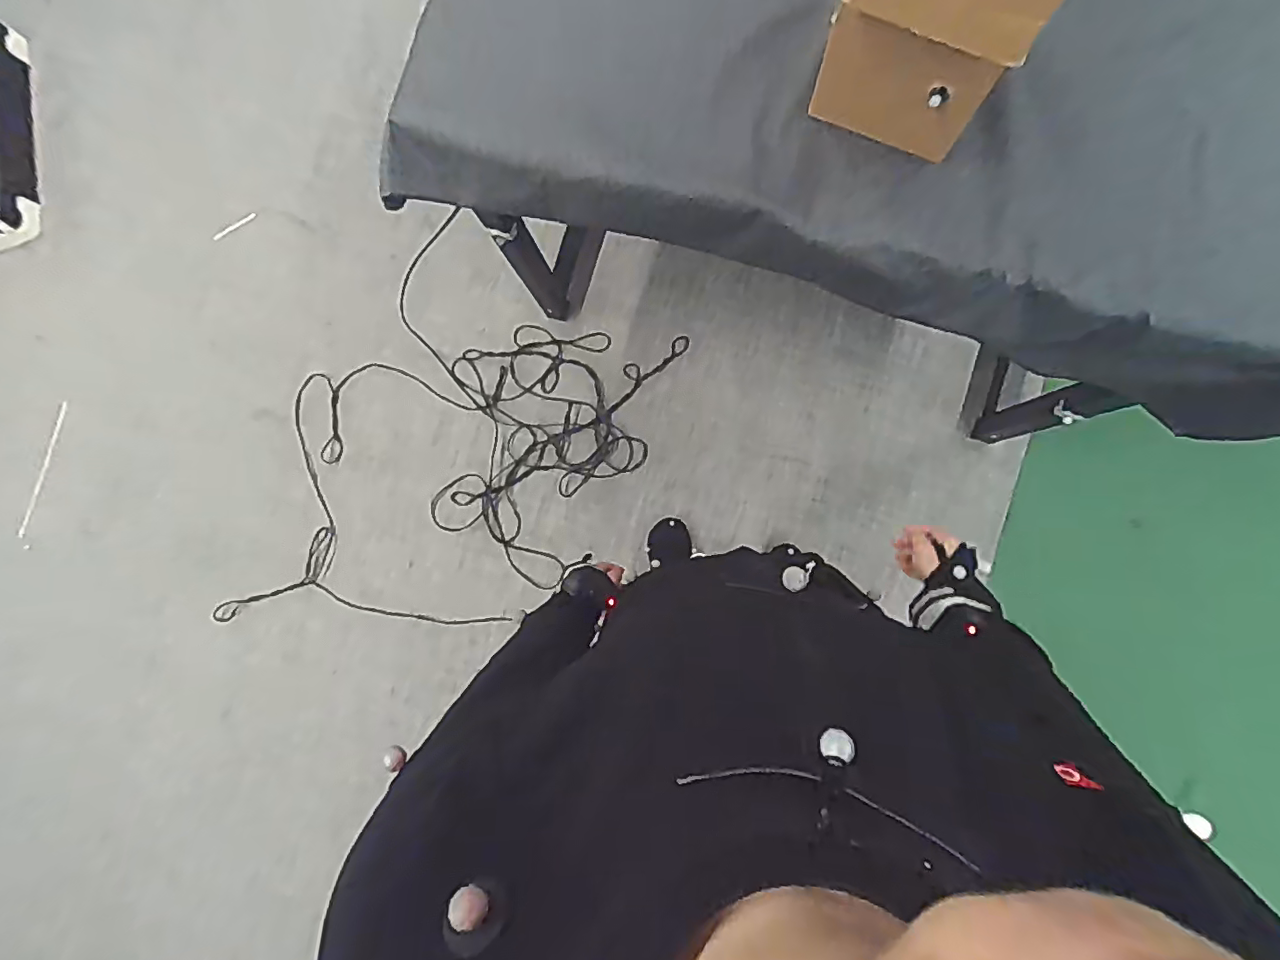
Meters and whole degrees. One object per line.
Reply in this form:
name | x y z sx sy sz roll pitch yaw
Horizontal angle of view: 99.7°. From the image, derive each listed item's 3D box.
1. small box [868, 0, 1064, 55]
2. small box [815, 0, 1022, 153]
small box | 0.299 -0.493 0.425 0.179 0.176 0.168 27 87 5
small box | 0.318 -0.499 0.587 0.179 0.176 0.168 25 87 7
